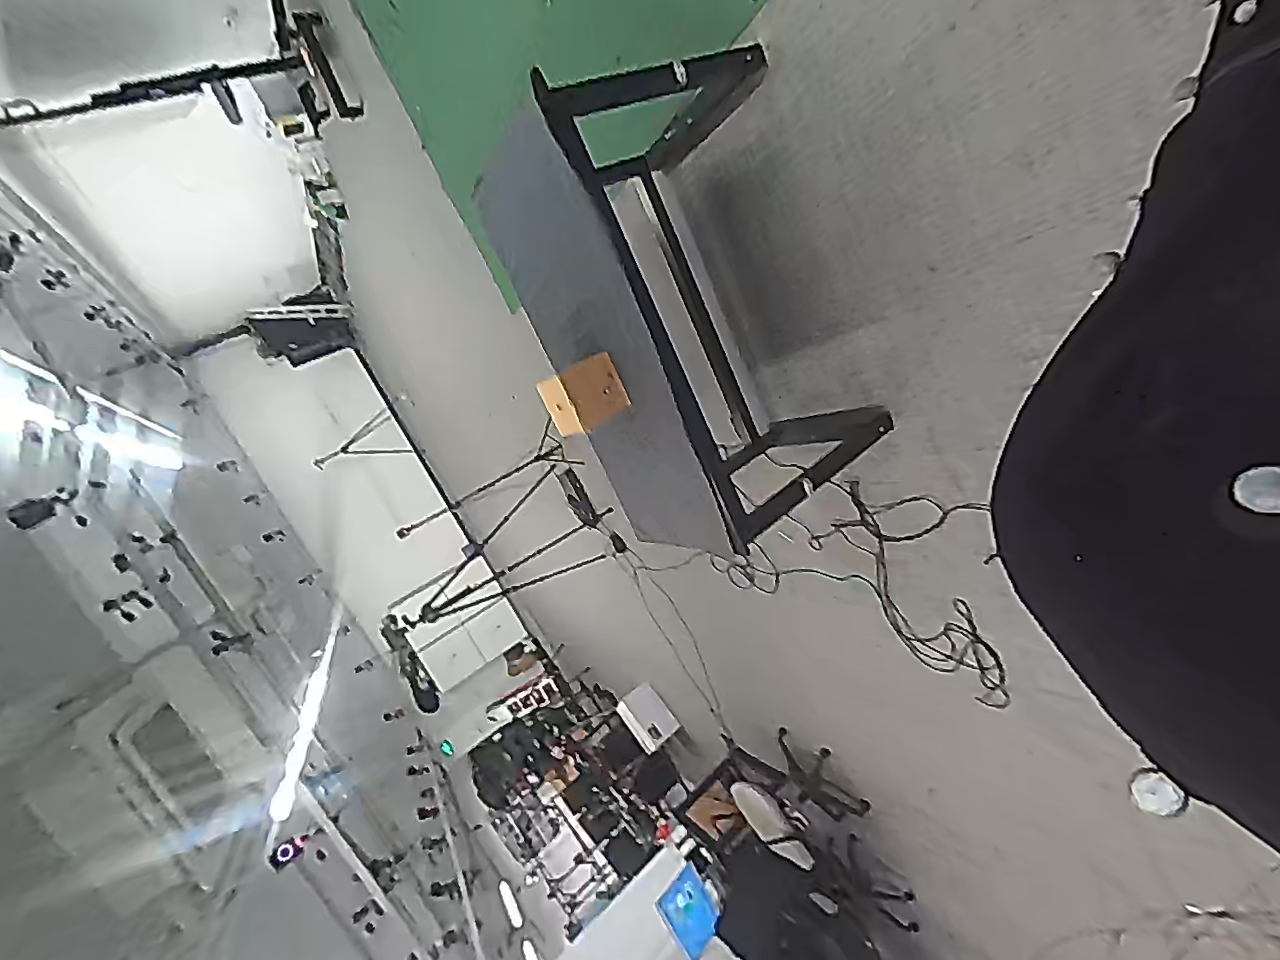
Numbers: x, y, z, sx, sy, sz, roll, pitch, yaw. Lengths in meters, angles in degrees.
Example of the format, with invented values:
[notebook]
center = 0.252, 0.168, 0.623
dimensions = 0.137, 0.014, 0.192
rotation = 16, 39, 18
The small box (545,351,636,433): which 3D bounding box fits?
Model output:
[small box]
center = -0.140, -0.248, 1.538
dimensions = 0.179, 0.176, 0.168
rotation = -1, 118, 61
